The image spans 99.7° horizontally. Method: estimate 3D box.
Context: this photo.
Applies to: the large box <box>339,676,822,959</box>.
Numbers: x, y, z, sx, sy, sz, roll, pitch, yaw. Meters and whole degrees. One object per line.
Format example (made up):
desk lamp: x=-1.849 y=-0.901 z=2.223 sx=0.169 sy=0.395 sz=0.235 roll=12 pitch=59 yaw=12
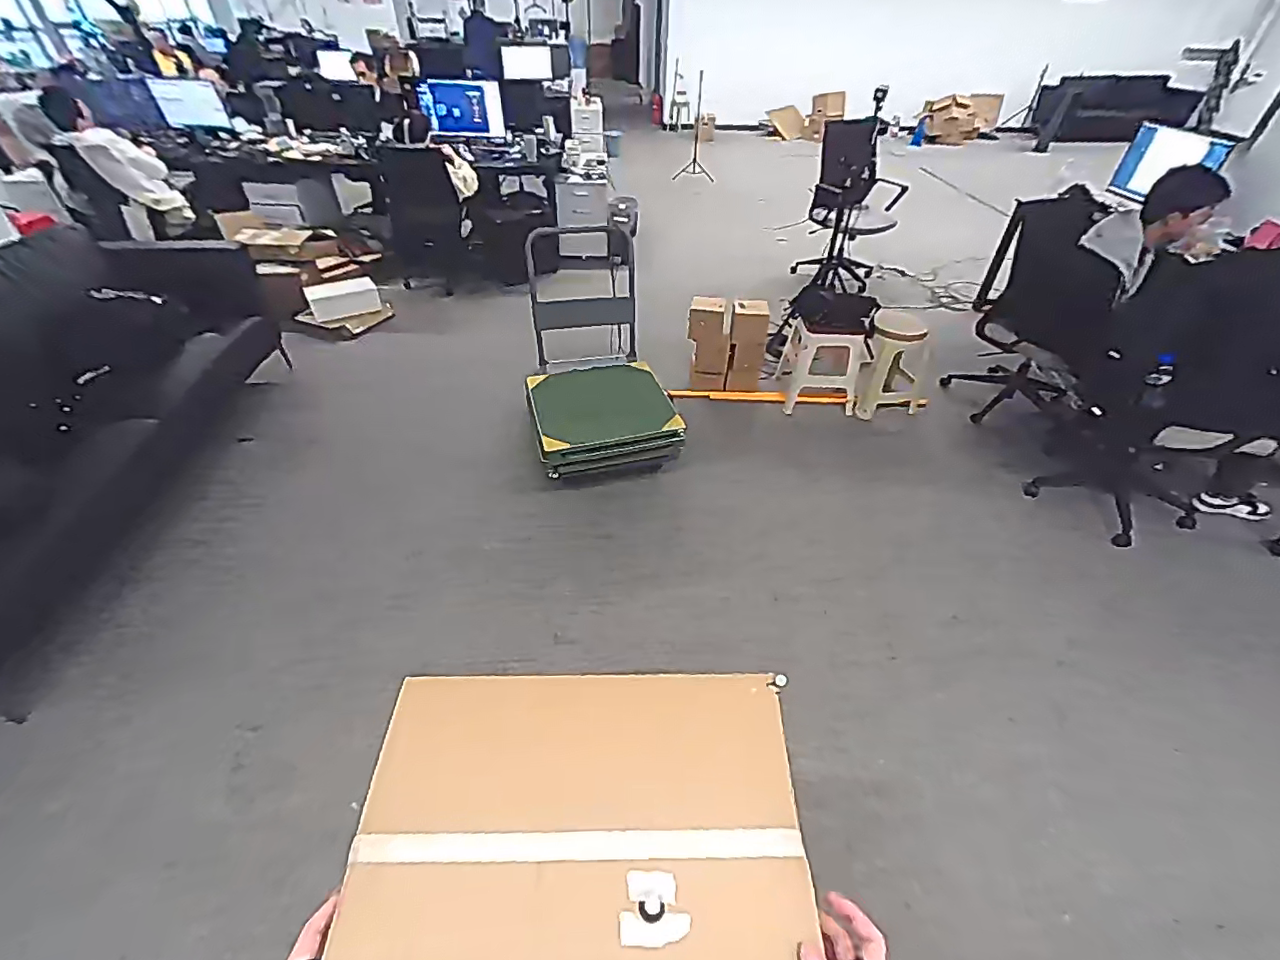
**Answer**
large box: x=-0.051 y=0.434 z=0.605 sx=0.408 sy=0.320 sz=0.320 roll=0 pitch=48 yaw=0
